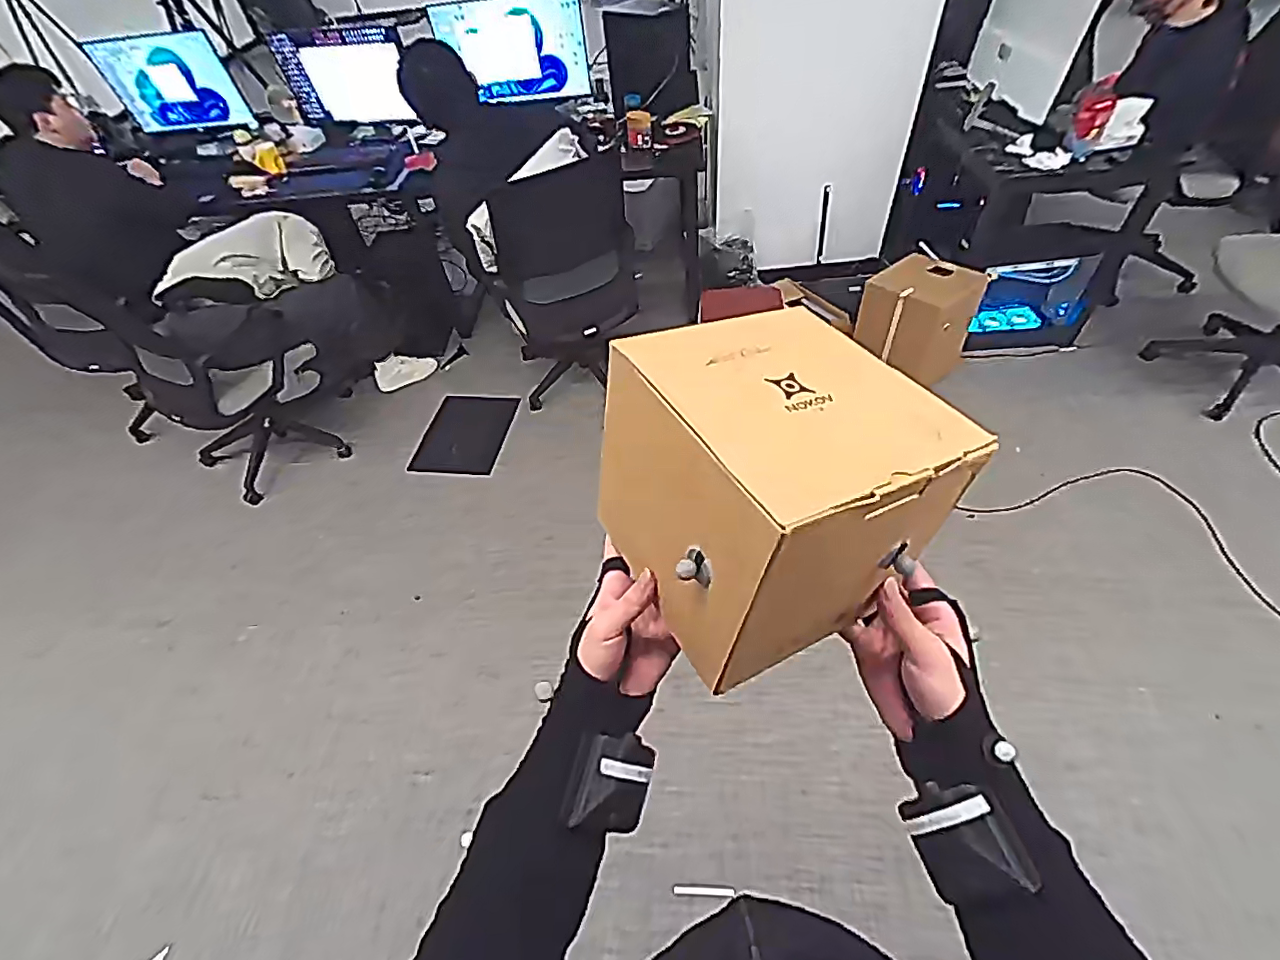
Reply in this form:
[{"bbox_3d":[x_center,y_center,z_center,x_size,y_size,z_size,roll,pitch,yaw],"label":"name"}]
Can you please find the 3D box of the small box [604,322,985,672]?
[{"bbox_3d":[0.085,0.011,0.390,0.168,0.176,0.179,-16,48,-26],"label":"small box"}]
